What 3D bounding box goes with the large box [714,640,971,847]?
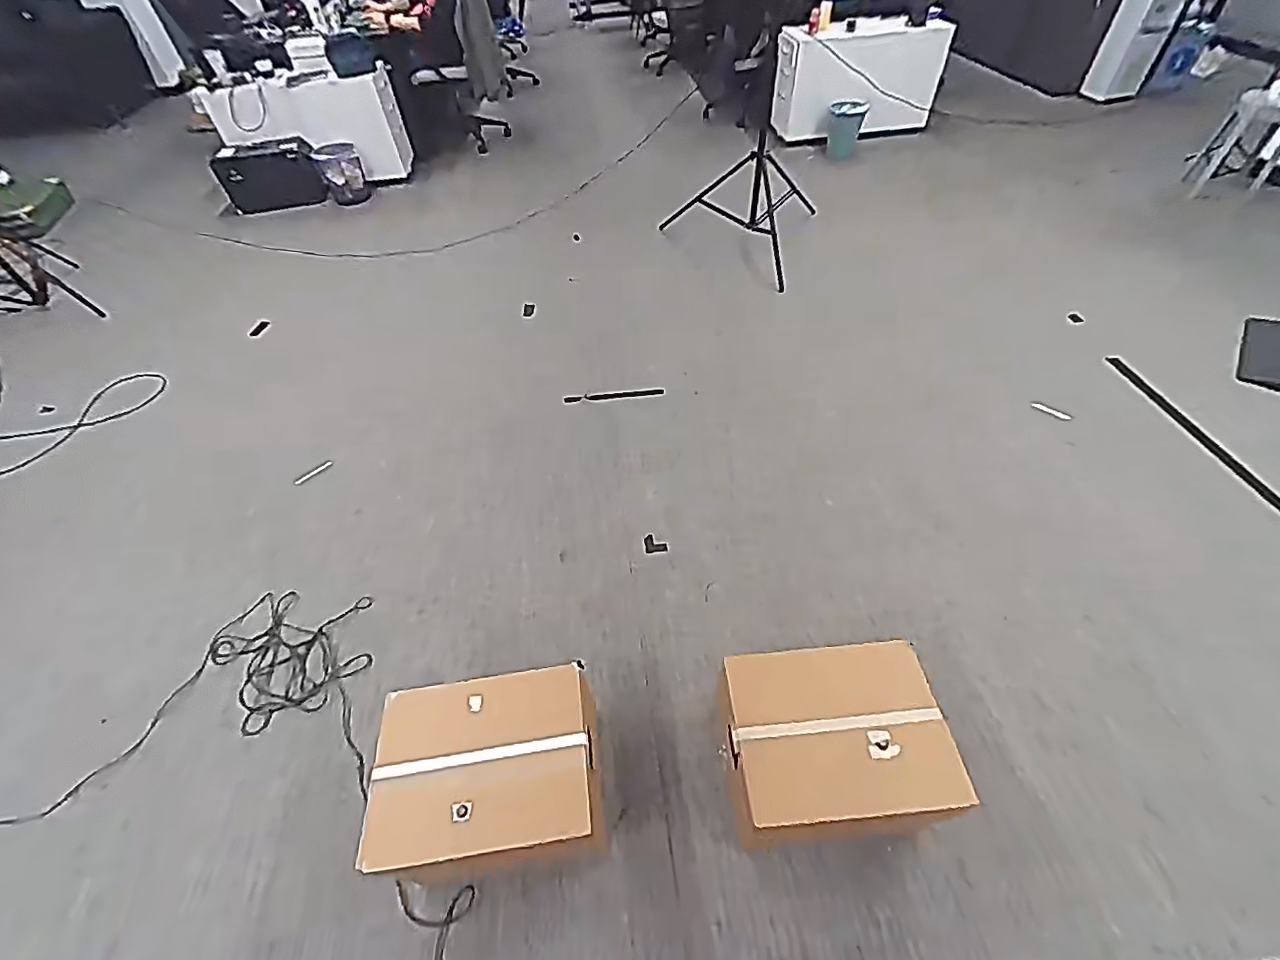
[{"bbox_3d":[0.392,0.574,1.173,0.408,0.320,0.320,-4,50,-2],"label":"large box"}]
